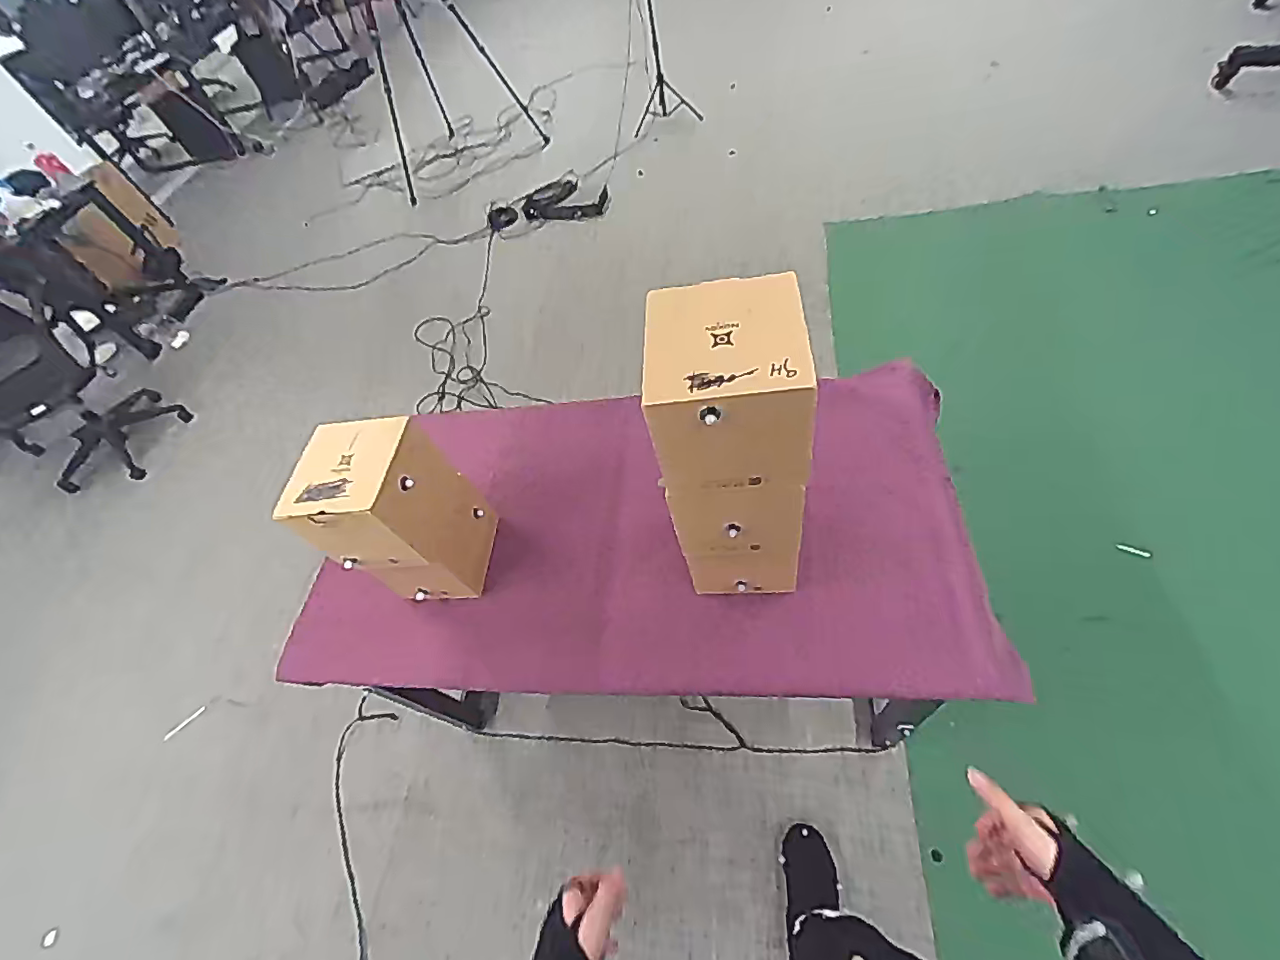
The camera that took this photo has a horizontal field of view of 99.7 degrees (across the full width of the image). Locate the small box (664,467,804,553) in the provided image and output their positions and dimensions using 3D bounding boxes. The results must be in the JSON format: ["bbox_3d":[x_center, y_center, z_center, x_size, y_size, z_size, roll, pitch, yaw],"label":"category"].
[{"bbox_3d":[0.131,-0.010,0.738,0.168,0.176,0.179,-2,55,12],"label":"small box"}]

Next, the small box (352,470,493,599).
[{"bbox_3d":[-0.387,0.102,0.985,0.168,0.176,0.179,-3,55,11],"label":"small box"}]

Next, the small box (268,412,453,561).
[{"bbox_3d":[-0.420,0.018,0.849,0.168,0.176,0.179,-3,54,12],"label":"small box"}]

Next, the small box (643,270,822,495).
[{"bbox_3d":[0.103,-0.102,0.605,0.168,0.176,0.179,-4,54,11],"label":"small box"}]
